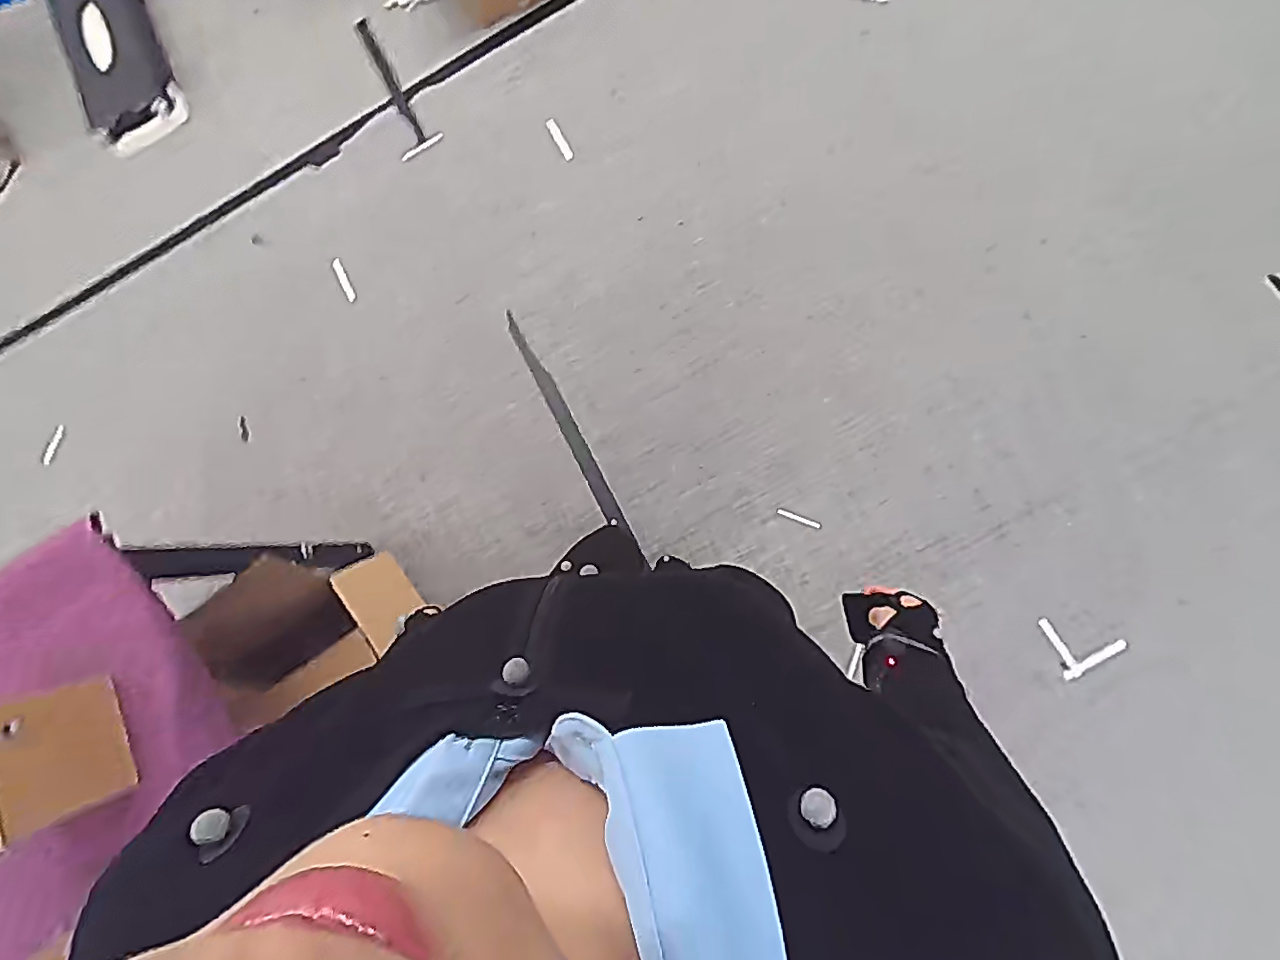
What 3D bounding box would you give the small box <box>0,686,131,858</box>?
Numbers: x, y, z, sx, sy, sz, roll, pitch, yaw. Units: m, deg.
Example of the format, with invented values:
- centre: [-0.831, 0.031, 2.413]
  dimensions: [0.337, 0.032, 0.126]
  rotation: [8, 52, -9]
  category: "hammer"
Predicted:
- centre: [-0.860, 0.411, 0.739]
  dimensions: [0.168, 0.176, 0.179]
  rotation: [-24, 81, 3]
  category: "small box"
